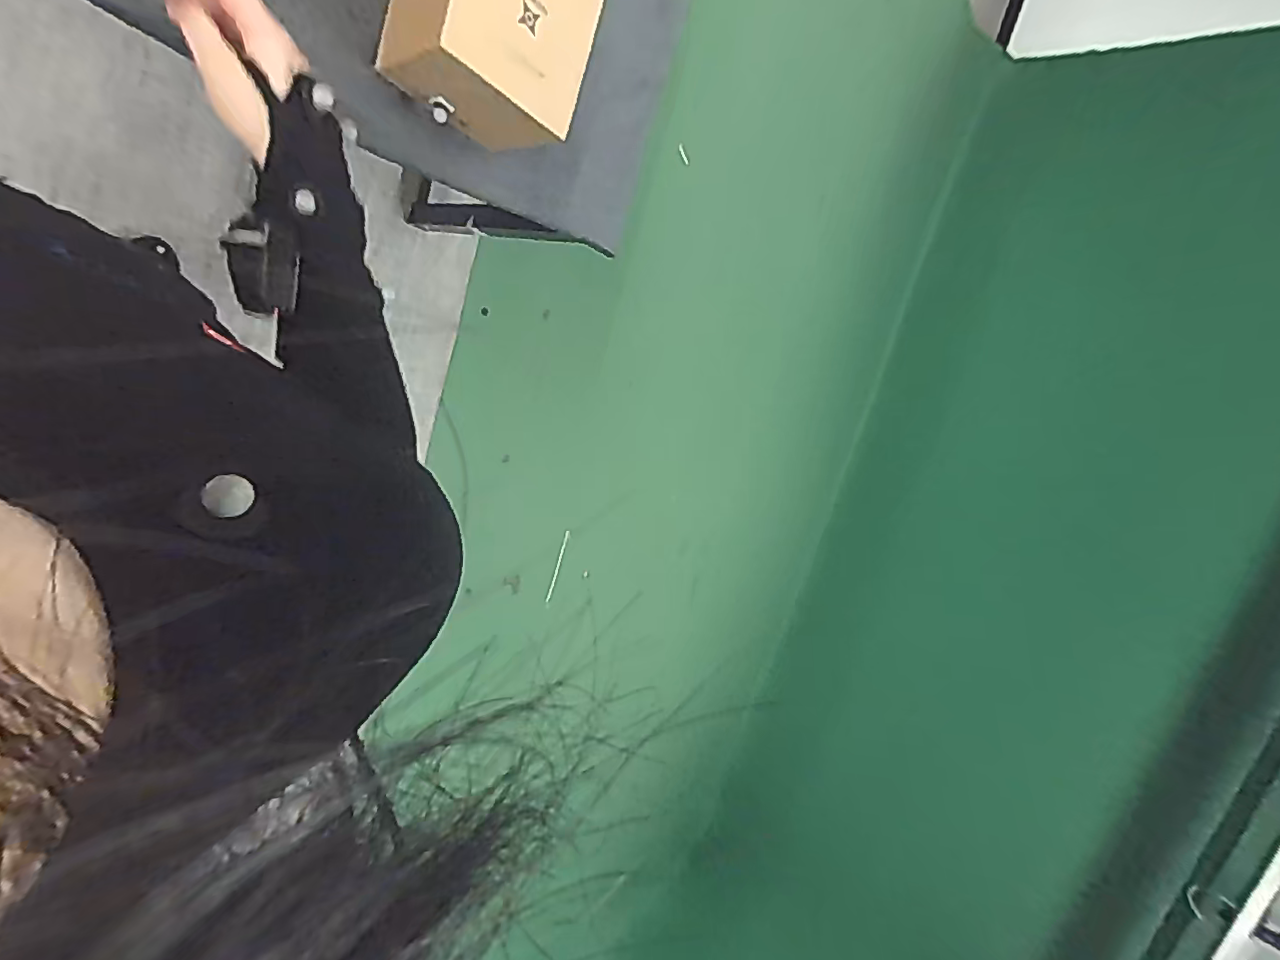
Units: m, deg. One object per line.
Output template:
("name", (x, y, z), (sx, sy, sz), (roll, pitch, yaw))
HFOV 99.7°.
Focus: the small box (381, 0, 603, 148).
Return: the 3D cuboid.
("small box", (-0.174, -0.519, 0.625), (0.168, 0.176, 0.179), (8, 103, -49))
